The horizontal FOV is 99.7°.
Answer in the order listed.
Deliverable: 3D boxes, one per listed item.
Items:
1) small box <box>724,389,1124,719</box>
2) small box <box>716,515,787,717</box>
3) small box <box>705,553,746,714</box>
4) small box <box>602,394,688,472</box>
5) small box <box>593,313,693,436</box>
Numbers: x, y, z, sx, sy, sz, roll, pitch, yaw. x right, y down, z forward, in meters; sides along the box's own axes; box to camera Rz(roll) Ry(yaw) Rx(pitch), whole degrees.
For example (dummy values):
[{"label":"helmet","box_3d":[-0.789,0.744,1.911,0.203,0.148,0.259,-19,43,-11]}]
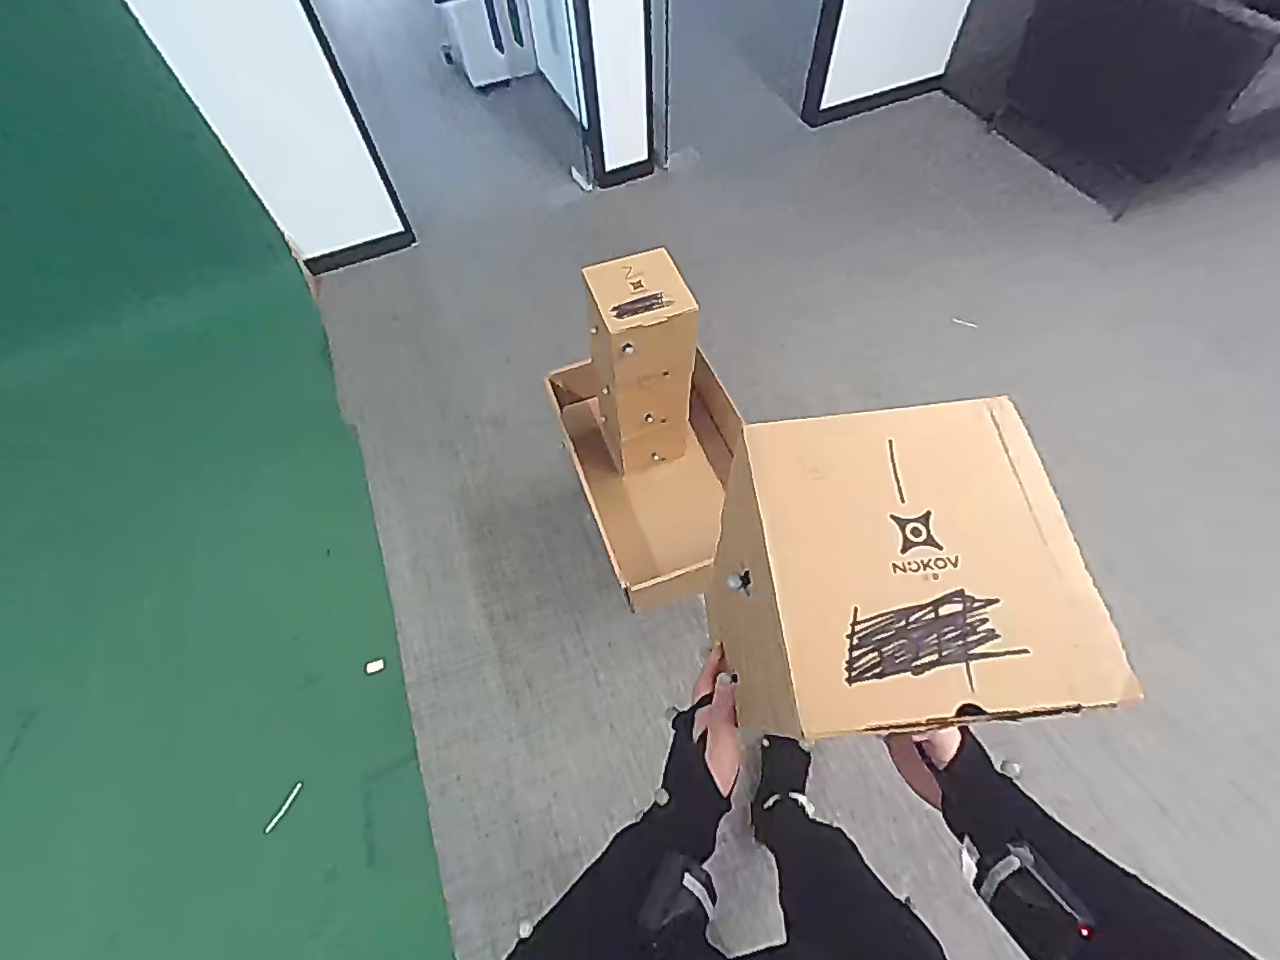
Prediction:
[{"label":"small box","box_3d":[0.155,0.062,0.372,0.168,0.176,0.179,-6,66,1]},{"label":"small box","box_3d":[0.167,0.128,0.522,0.168,0.176,0.179,-5,66,2]},{"label":"small box","box_3d":[0.173,0.190,0.673,0.168,0.176,0.179,-5,66,1]},{"label":"small box","box_3d":[0.008,-0.149,1.323,0.168,0.176,0.179,-19,62,-8]},{"label":"small box","box_3d":[0.004,-0.226,1.181,0.168,0.176,0.179,-19,63,-9]}]
